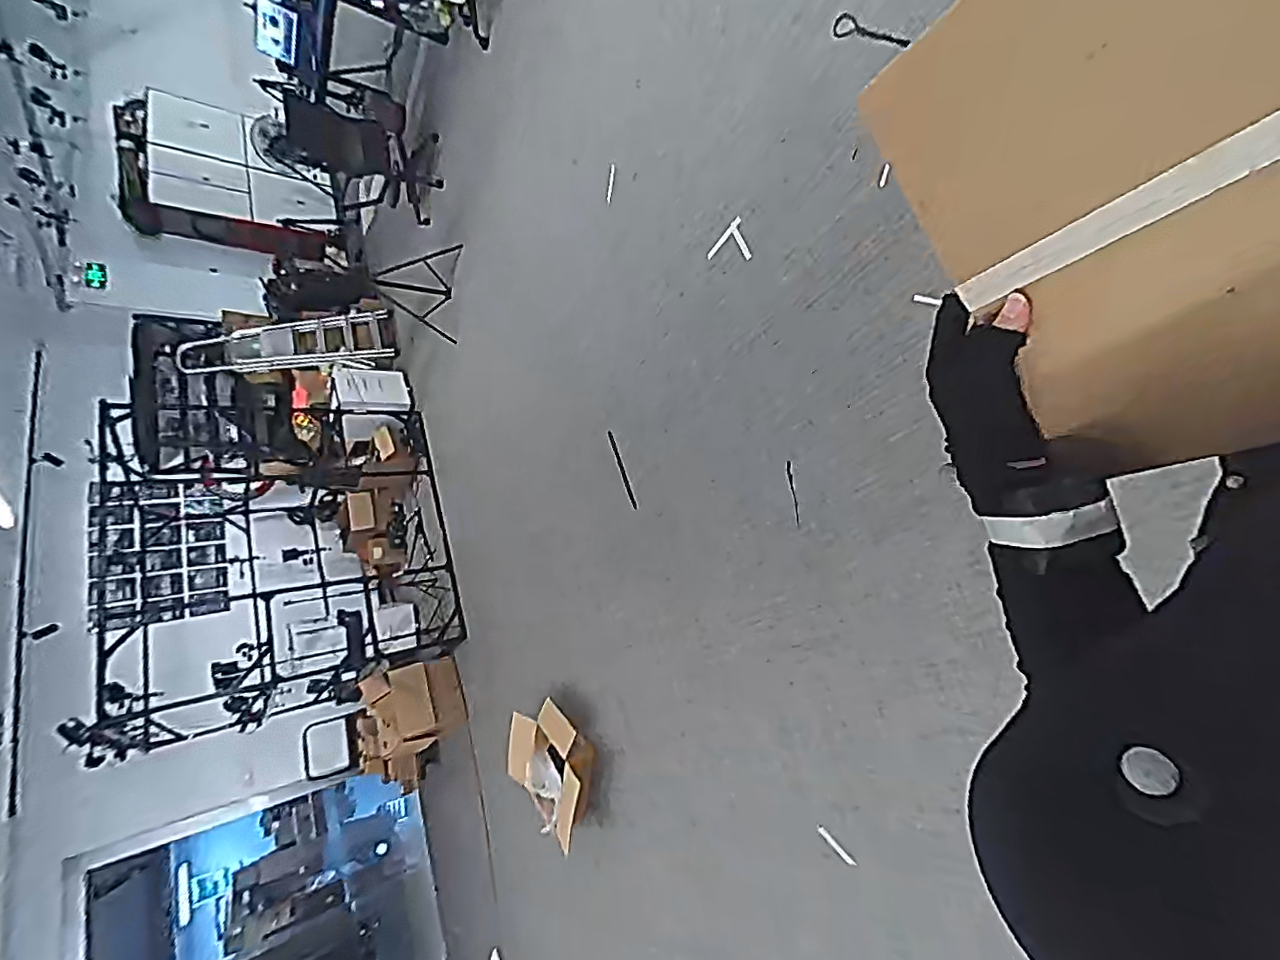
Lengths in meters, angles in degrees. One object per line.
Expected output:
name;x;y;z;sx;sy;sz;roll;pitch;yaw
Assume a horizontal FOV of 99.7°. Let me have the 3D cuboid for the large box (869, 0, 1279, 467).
large box;0.441;-0.257;0.330;0.408;0.320;0.320;-26;98;52
